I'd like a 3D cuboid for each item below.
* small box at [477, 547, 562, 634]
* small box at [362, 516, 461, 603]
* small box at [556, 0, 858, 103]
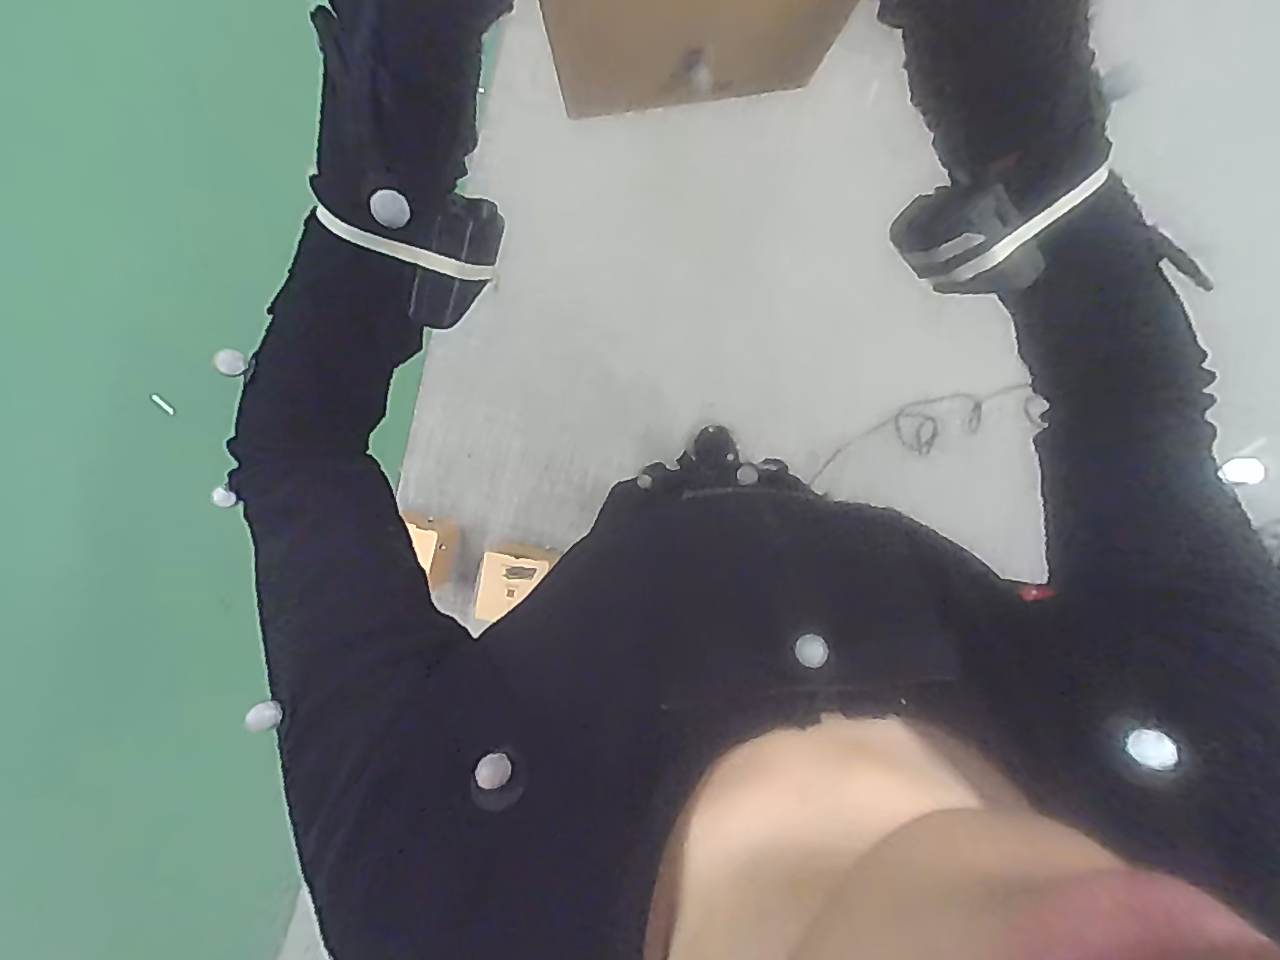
[{"bbox_3d":[-0.306,0.278,1.407,0.168,0.176,0.179,10,92,2],"label":"small box"},{"bbox_3d":[-0.588,0.201,1.414,0.168,0.176,0.179,14,91,0],"label":"small box"},{"bbox_3d":[0.030,-0.331,0.268,0.168,0.176,0.179,-7,100,1],"label":"small box"}]
